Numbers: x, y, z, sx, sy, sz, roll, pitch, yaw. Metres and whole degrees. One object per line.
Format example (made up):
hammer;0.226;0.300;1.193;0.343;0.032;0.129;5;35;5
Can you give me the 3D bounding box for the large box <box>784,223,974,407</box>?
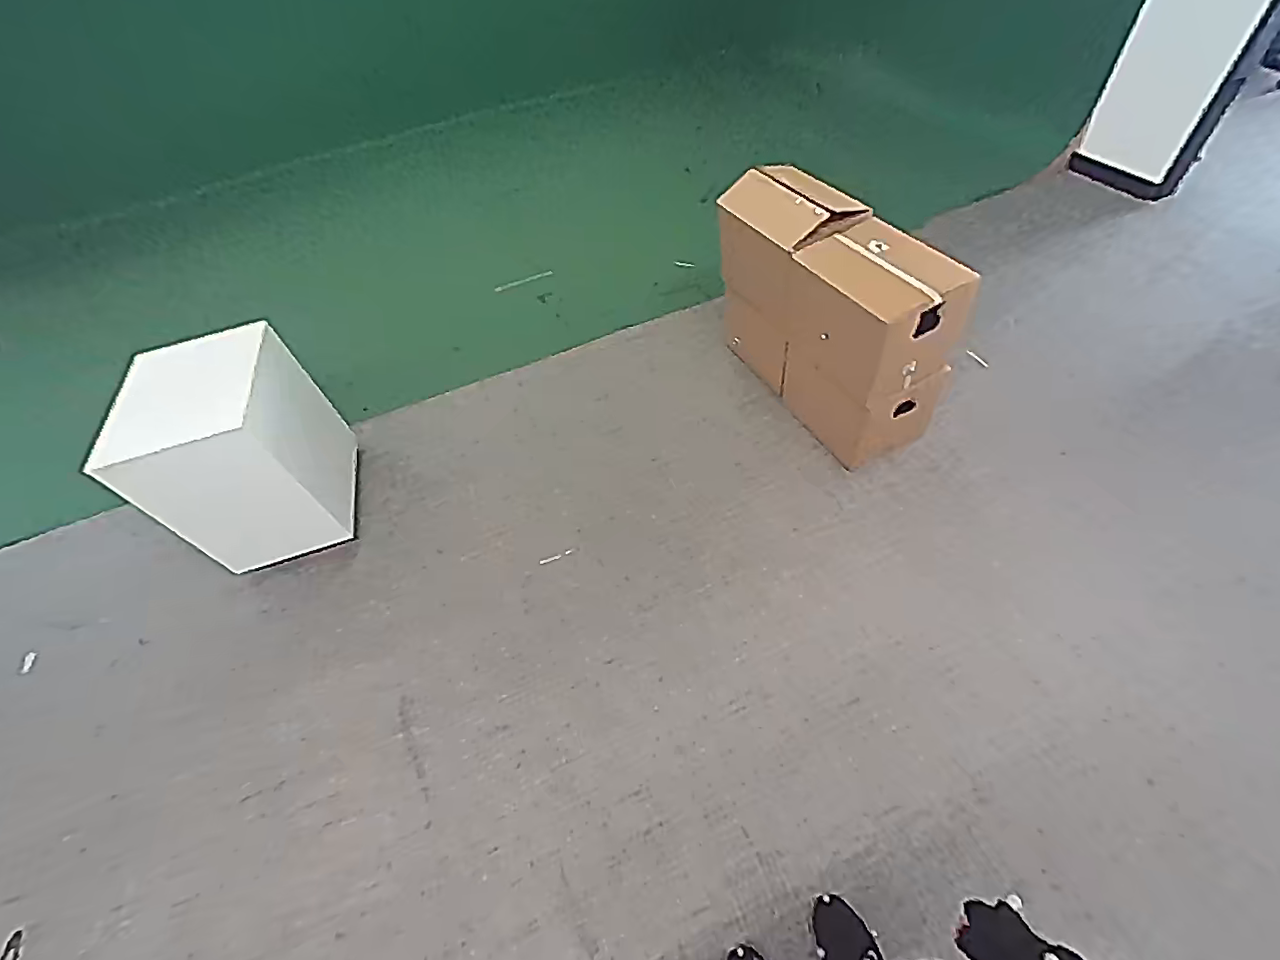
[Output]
large box;0.676;-0.492;1.612;0.320;0.320;0.408;-27;52;-10
